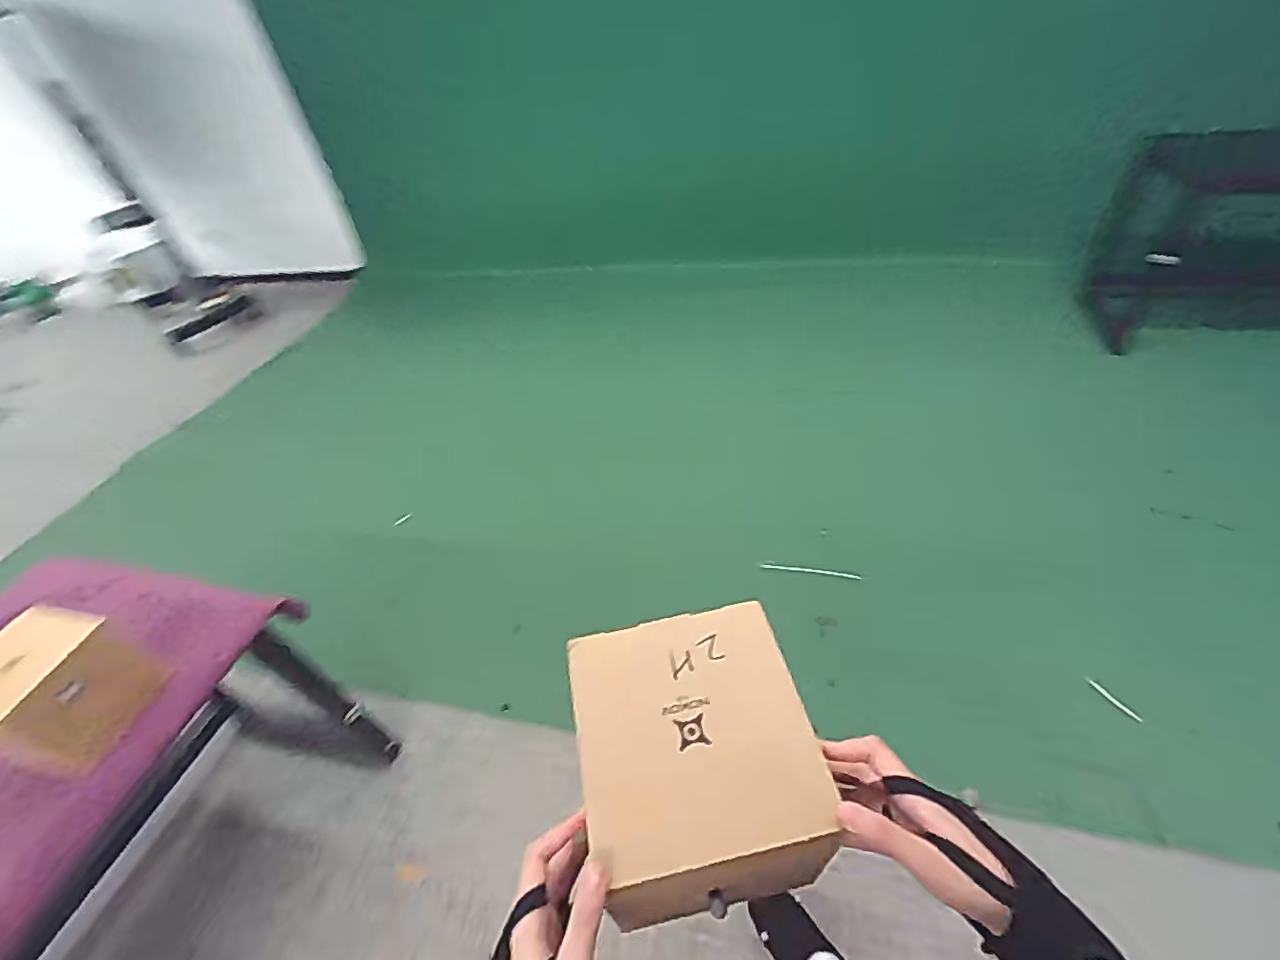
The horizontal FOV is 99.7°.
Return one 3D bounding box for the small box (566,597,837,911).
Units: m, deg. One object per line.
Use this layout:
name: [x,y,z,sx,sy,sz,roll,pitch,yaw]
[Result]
small box: [0.040,0.231,0.452,0.168,0.176,0.179,-11,43,-5]
